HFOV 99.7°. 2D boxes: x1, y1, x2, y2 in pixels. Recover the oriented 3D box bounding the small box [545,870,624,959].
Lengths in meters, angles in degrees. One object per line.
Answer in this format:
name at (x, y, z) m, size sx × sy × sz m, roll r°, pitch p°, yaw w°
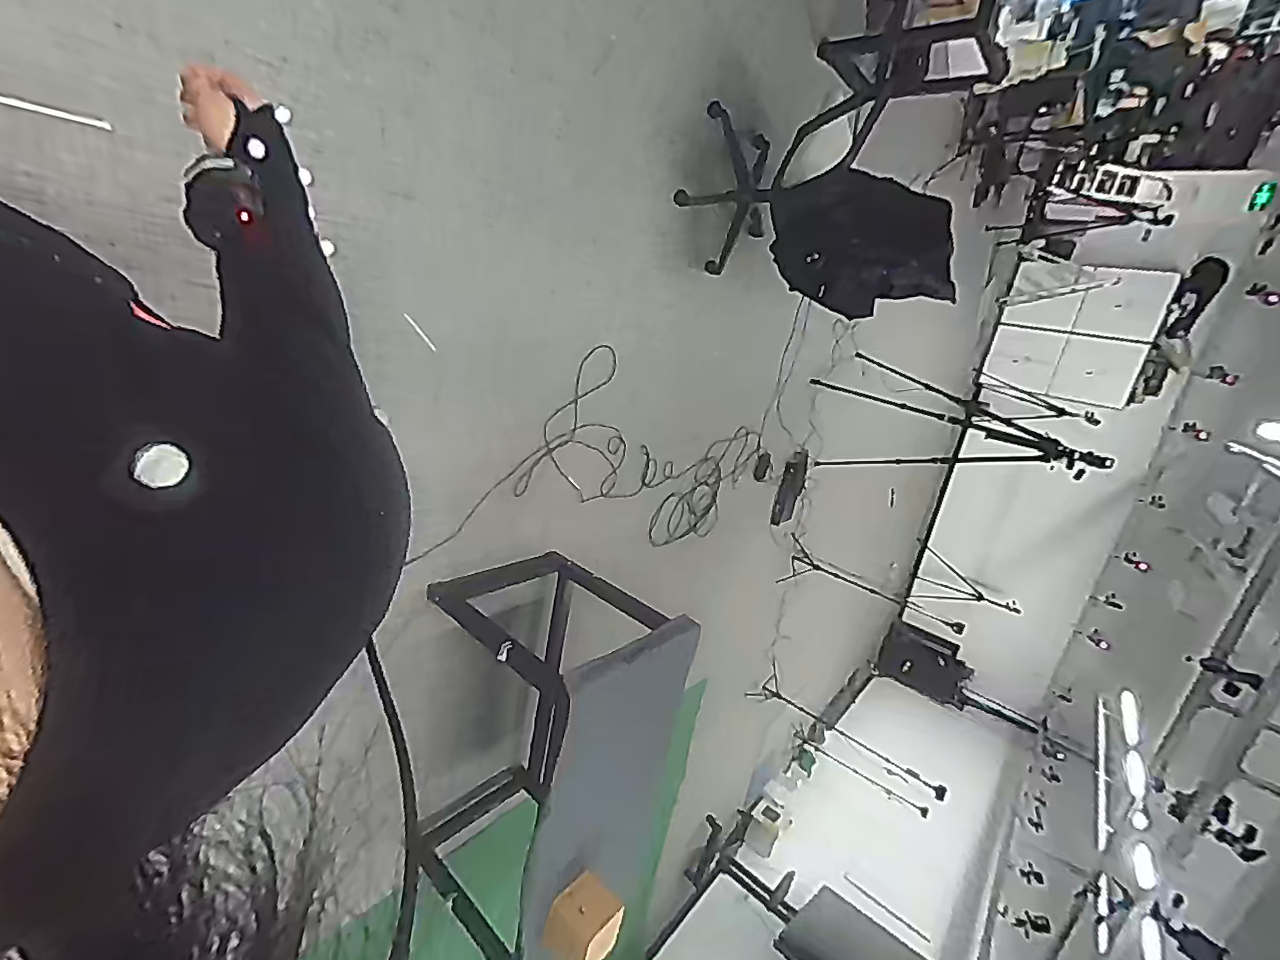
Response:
small box at (-0.179, 1.382, 1.705) m, size 0.168 × 0.176 × 0.179 m, roll -4°, pitch 112°, yaw -52°
